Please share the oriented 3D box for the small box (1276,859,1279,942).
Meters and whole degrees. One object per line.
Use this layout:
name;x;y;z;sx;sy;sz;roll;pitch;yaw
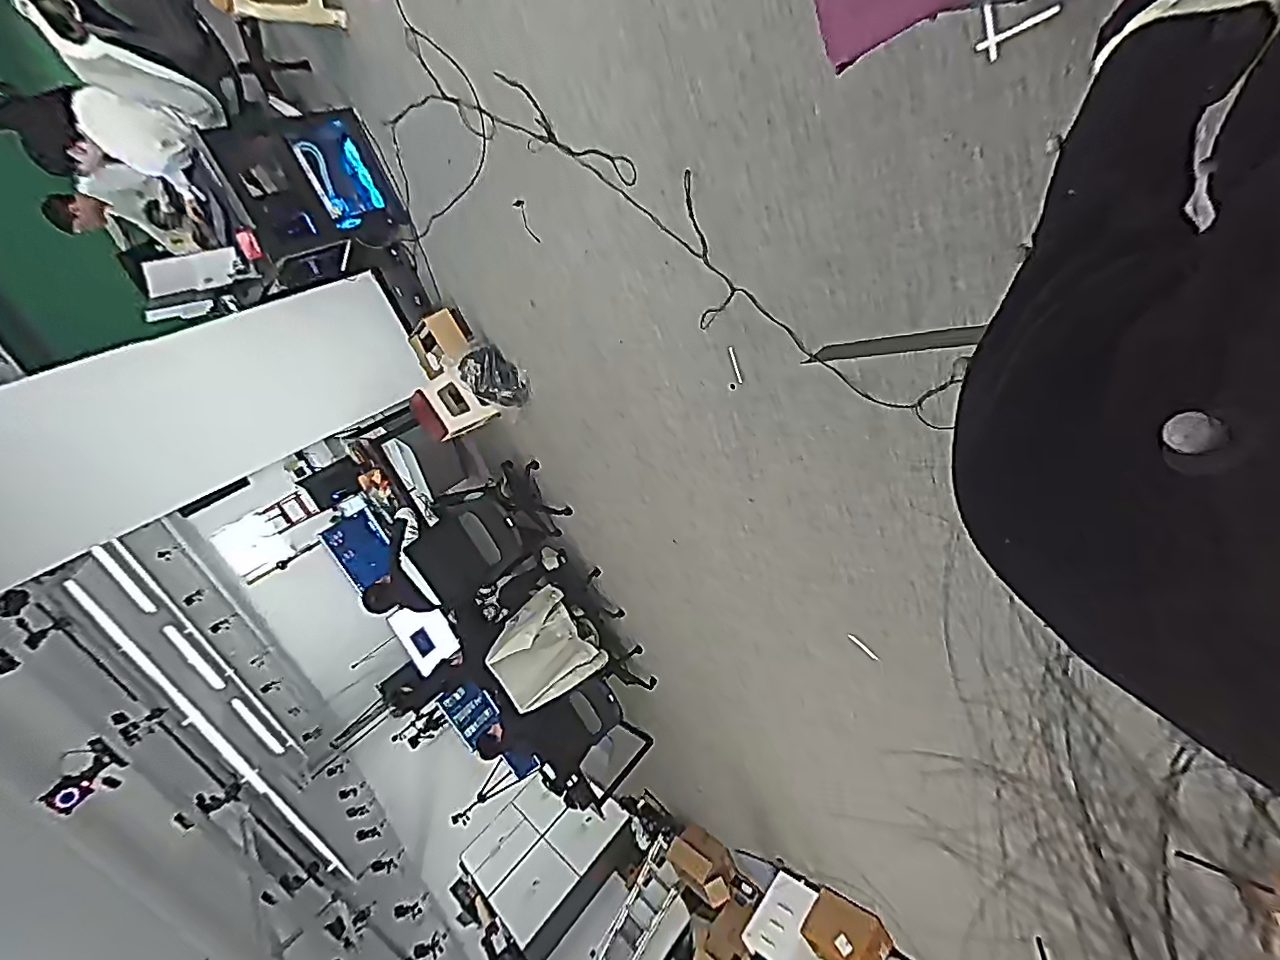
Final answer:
small box;1.865;1.184;1.473;0.168;0.176;0.179;3;124;51
